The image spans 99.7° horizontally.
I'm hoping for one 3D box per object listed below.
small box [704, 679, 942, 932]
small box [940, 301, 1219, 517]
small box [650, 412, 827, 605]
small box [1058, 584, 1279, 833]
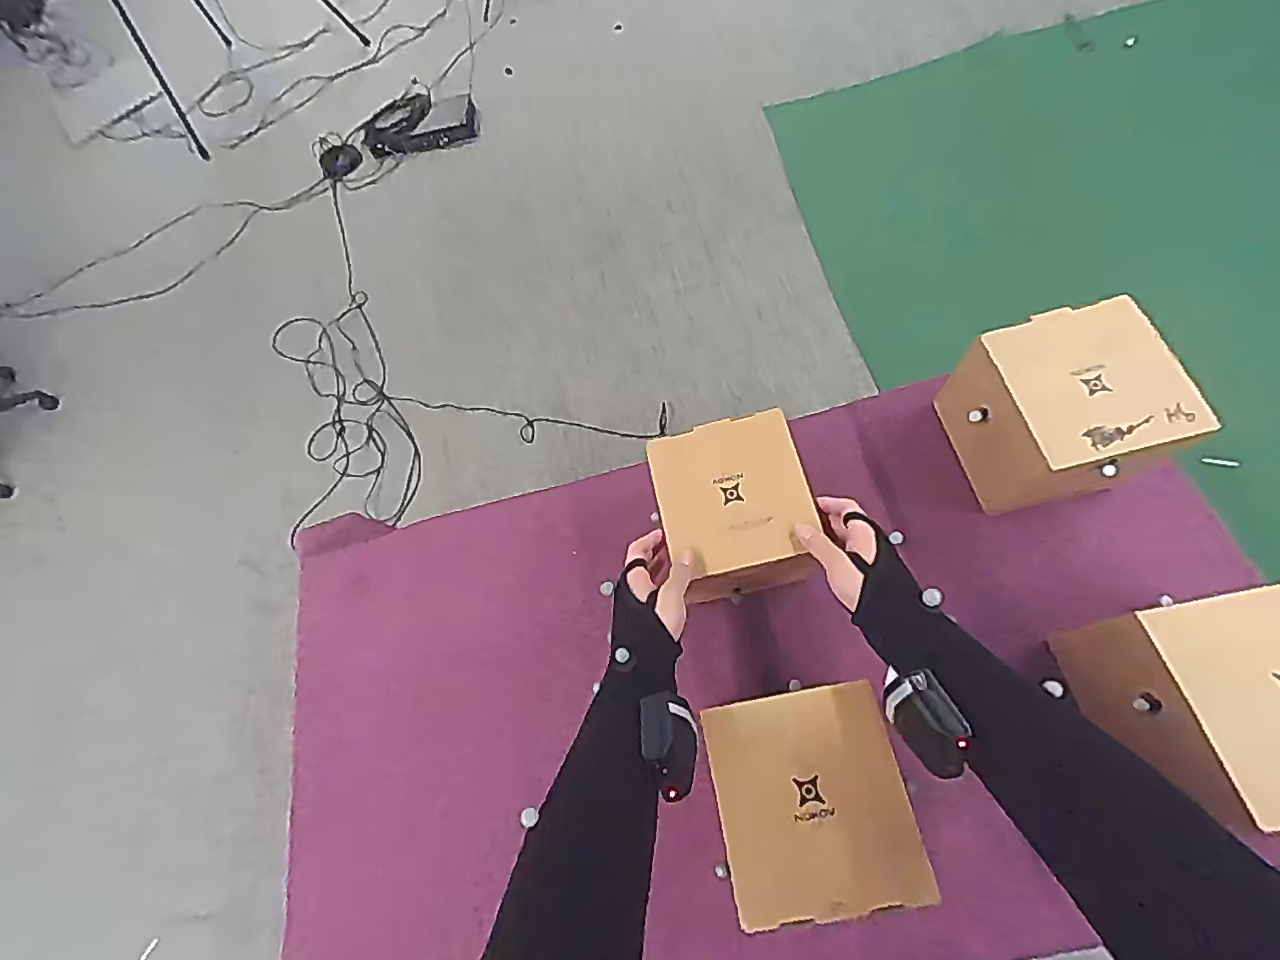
[{"bbox_3d":[0.164,0.314,0.550,0.168,0.176,0.179,-13,65,4],"label":"small box"},{"bbox_3d":[0.495,-0.075,0.648,0.168,0.176,0.179,-15,67,6],"label":"small box"},{"bbox_3d":[0.116,0.044,0.674,0.168,0.176,0.179,-13,67,5],"label":"small box"},{"bbox_3d":[0.555,0.212,0.514,0.168,0.176,0.179,-13,64,6],"label":"small box"}]
